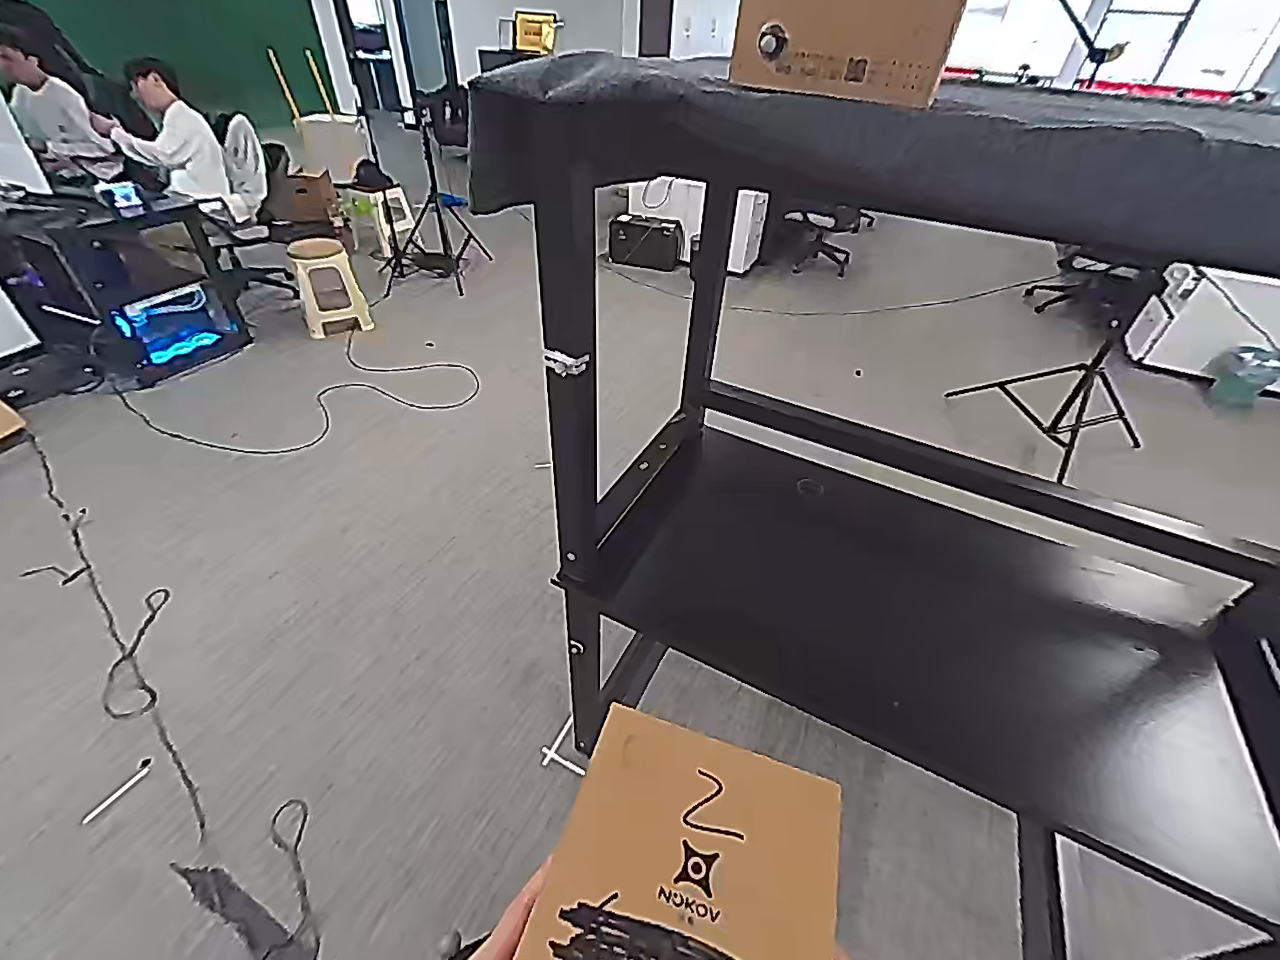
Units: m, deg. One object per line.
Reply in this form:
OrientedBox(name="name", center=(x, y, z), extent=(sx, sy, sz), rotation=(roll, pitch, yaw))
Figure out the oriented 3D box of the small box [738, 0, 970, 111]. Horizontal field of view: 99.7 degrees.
OrientedBox(name="small box", center=(0.191, -0.420, 0.453), extent=(0.168, 0.176, 0.179), rotation=(20, 41, 16))
